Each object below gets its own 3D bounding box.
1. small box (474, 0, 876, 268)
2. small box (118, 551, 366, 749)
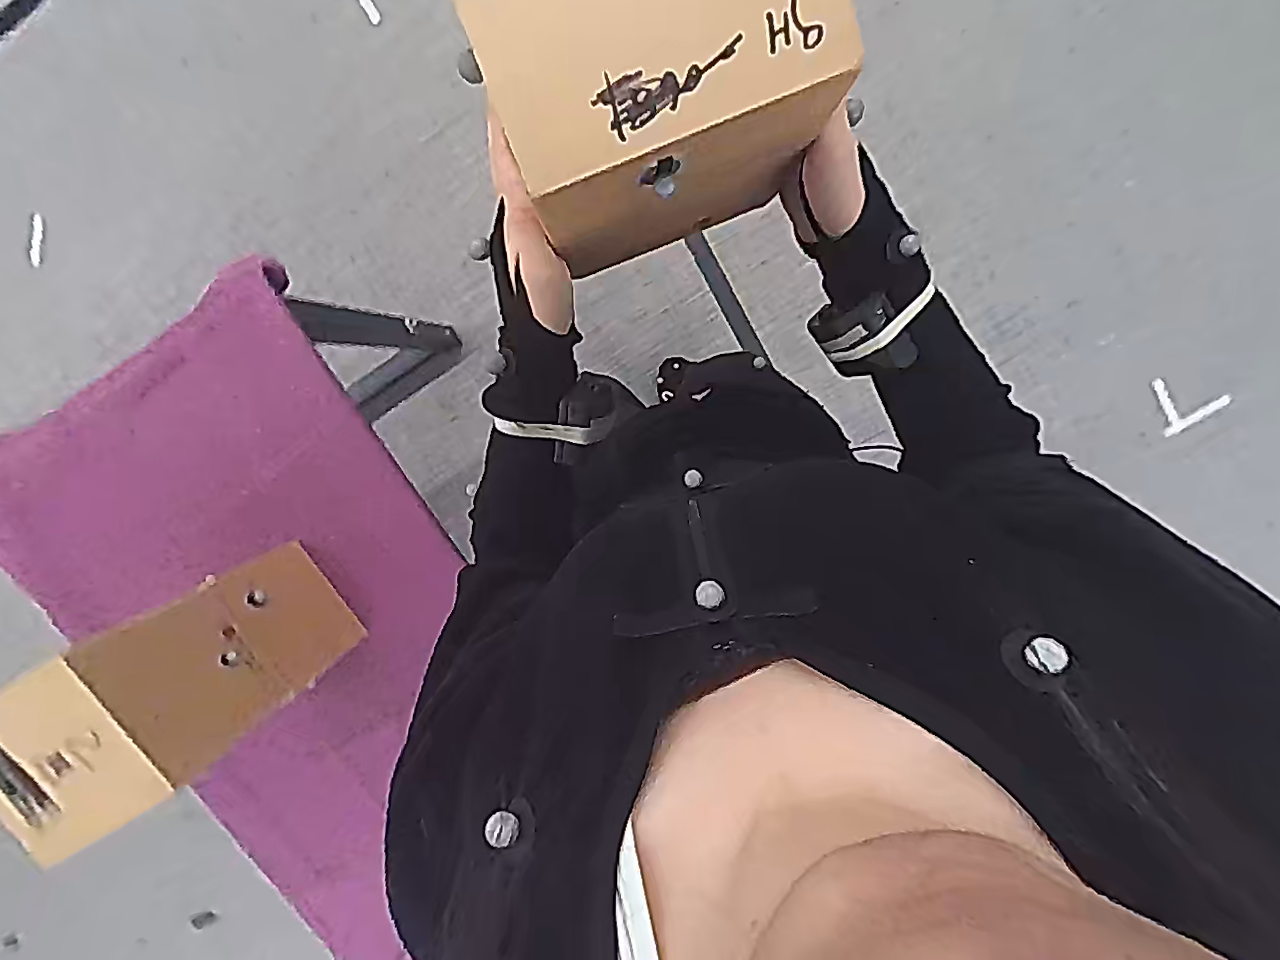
[{"bbox_3d":[0.000,-0.252,0.312,0.168,0.176,0.179,-20,97,2],"label":"small box"},{"bbox_3d":[-0.529,0.217,0.746,0.168,0.176,0.179,-32,99,9],"label":"small box"}]
